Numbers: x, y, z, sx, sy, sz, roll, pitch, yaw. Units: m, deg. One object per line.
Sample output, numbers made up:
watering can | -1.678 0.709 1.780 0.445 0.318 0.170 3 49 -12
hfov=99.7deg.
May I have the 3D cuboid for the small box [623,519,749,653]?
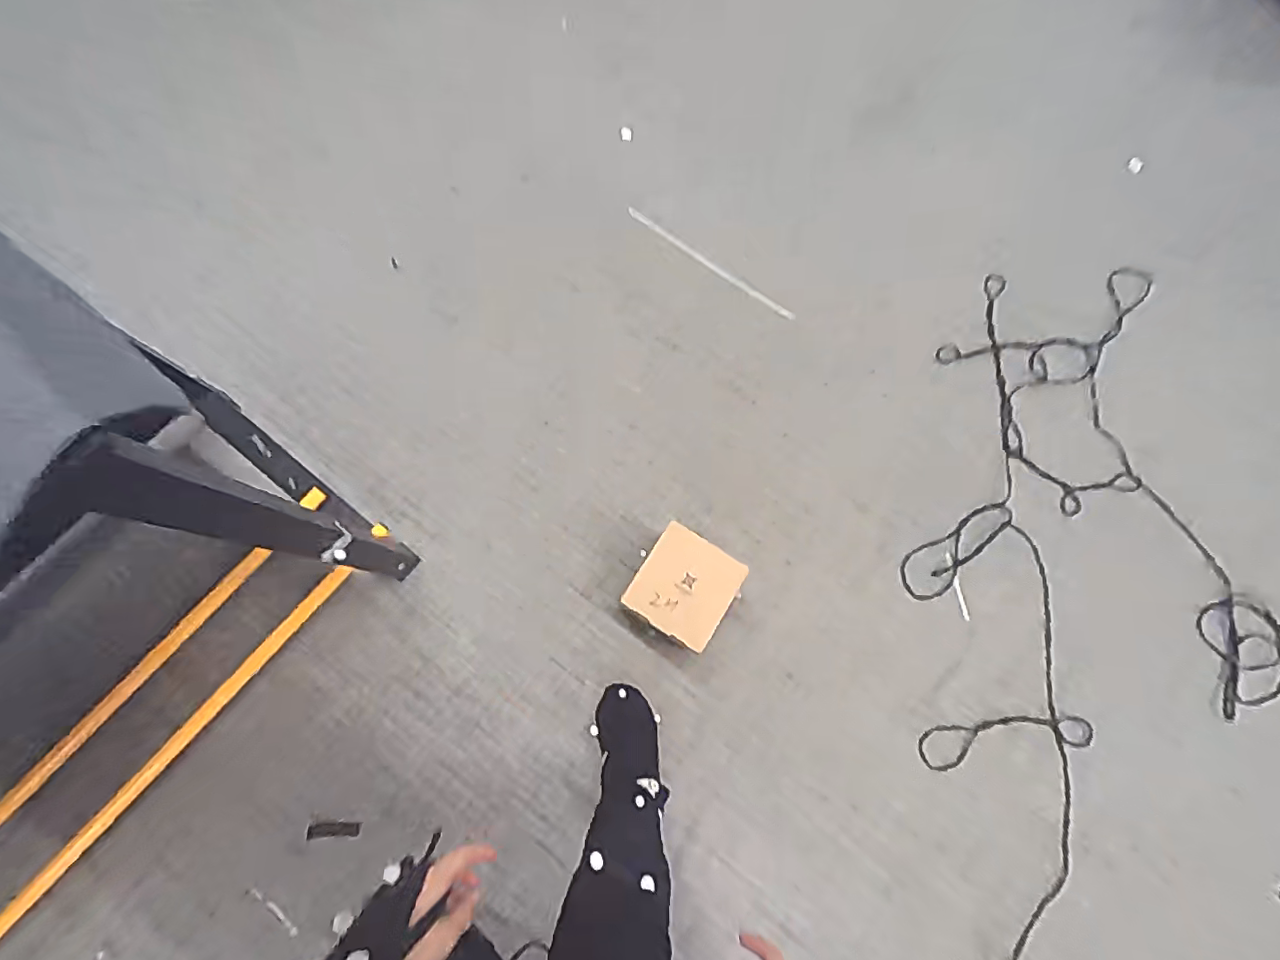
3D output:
small box | 0.076 0.202 1.016 0.168 0.176 0.179 32 76 6
